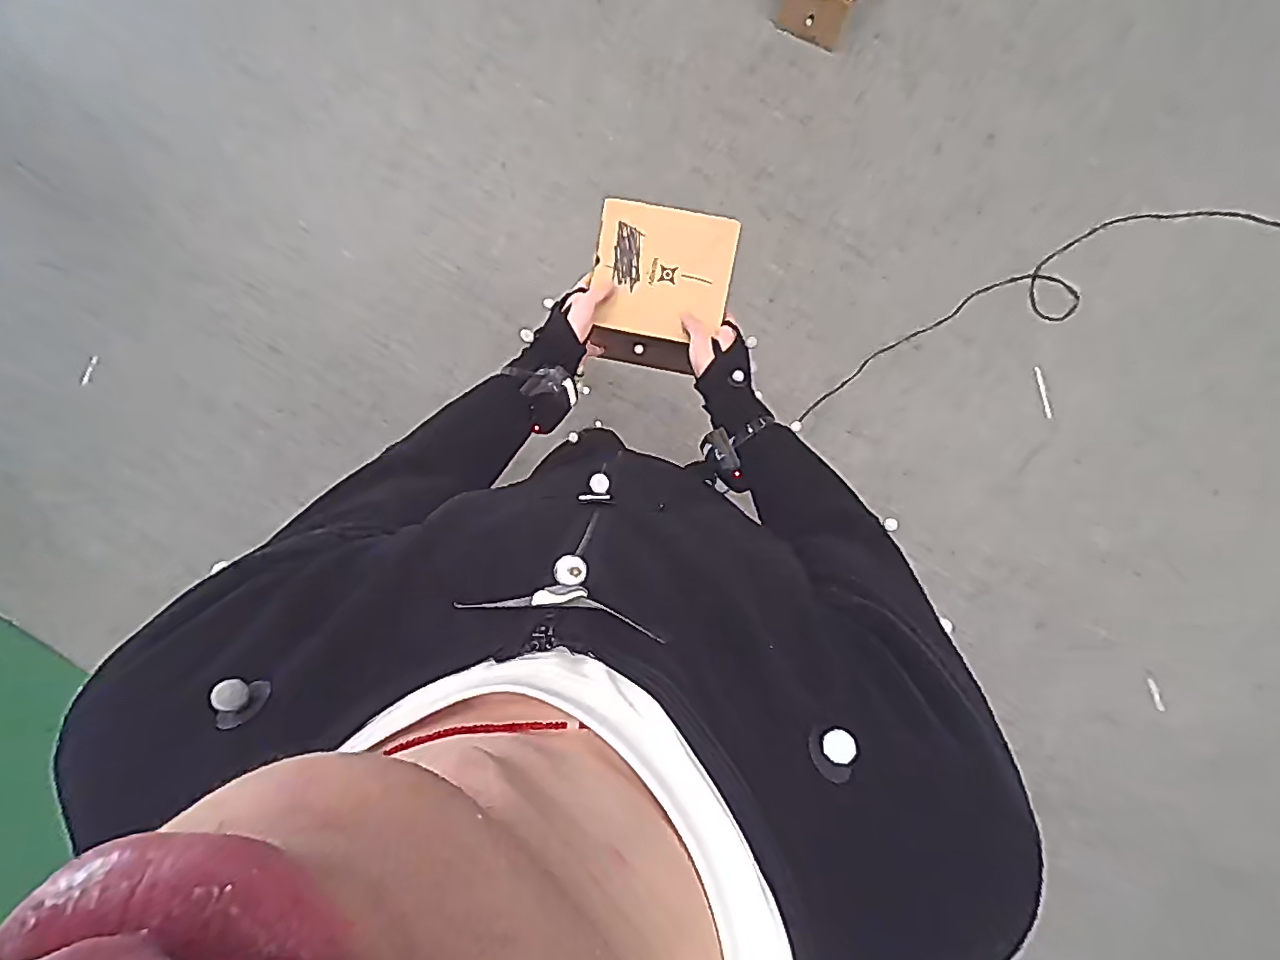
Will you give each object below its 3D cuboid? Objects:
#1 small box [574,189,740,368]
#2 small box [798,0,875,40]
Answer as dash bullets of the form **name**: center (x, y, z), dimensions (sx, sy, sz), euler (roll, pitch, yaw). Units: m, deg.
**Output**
- **small box**: center (0.025, -0.267, 0.756), dimensions (0.179, 0.176, 0.168), euler (16, 91, 3)
- **small box**: center (0.488, -1.234, 1.333), dimensions (0.179, 0.176, 0.168), euler (-3, 92, 7)
